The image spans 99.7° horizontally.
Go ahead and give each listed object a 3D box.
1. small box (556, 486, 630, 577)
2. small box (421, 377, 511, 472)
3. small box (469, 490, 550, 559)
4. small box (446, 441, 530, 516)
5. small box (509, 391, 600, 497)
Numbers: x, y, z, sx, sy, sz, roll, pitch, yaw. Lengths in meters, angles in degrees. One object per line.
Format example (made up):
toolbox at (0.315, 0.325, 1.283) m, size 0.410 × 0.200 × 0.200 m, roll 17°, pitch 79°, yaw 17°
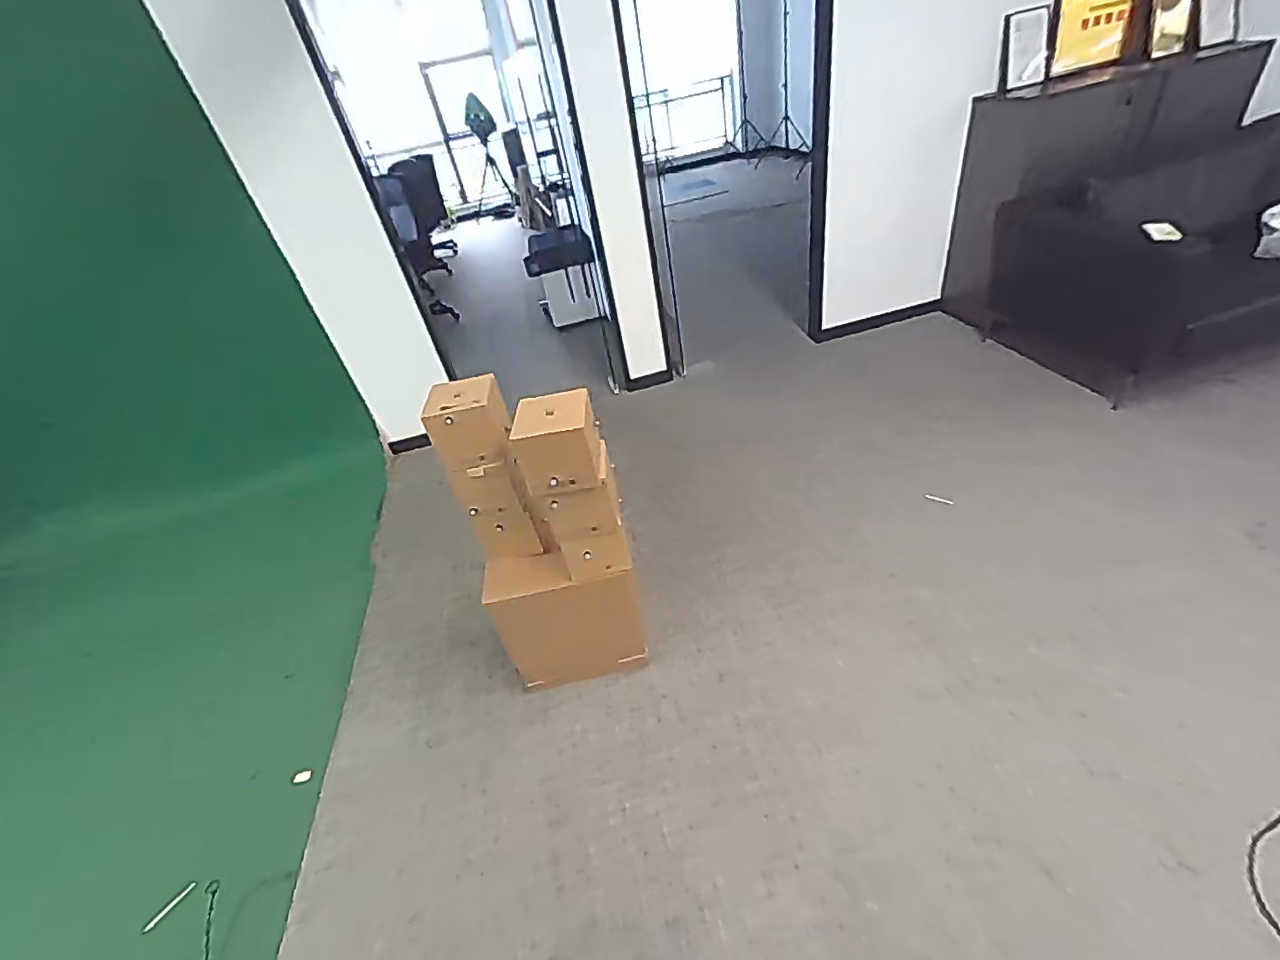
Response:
small box at (-0.129, 0.148, 1.488) m, size 0.168 × 0.176 × 0.179 m, roll -14°, pitch 37°, yaw -2°
small box at (-0.443, -0.145, 1.410) m, size 0.168 × 0.176 × 0.179 m, roll -12°, pitch 36°, yaw 1°
small box at (-0.379, 0.117, 1.599) m, size 0.179 × 0.176 × 0.168 m, roll -8°, pitch 37°, yaw 3°
small box at (-0.410, -0.012, 1.502) m, size 0.168 × 0.176 × 0.179 m, roll -8°, pitch 36°, yaw 6°
small box at (-0.191, -0.084, 1.264) m, size 0.168 × 0.176 × 0.179 m, roll -9°, pitch 38°, yaw 4°
